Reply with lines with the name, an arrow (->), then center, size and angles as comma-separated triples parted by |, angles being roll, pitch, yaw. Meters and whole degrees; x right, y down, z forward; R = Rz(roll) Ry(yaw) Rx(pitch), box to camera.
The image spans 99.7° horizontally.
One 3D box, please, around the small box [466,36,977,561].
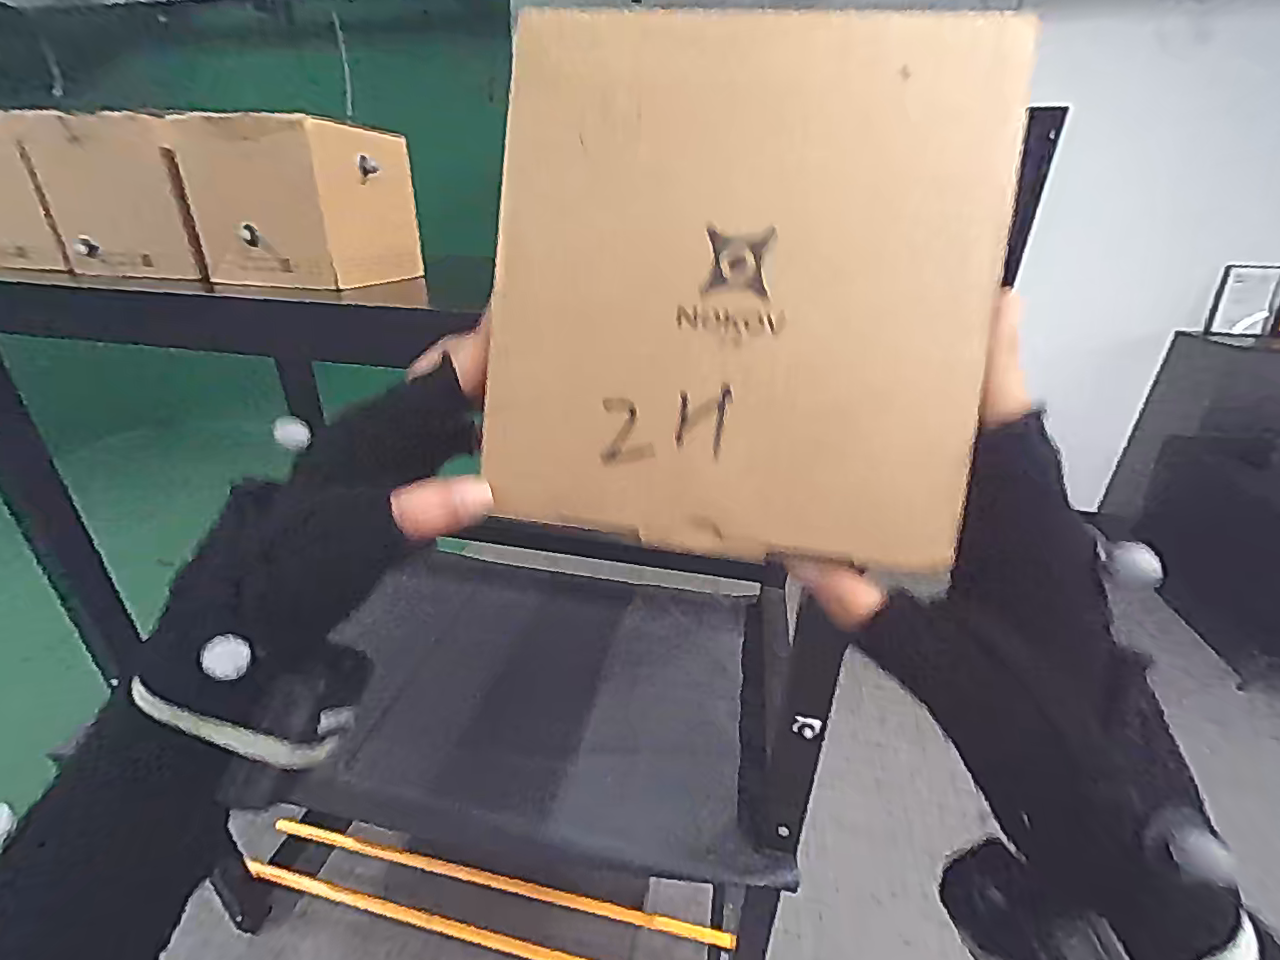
small box -> 0.033, -0.071, 0.273 | 0.168, 0.179, 0.176 | 7, 4, 8
